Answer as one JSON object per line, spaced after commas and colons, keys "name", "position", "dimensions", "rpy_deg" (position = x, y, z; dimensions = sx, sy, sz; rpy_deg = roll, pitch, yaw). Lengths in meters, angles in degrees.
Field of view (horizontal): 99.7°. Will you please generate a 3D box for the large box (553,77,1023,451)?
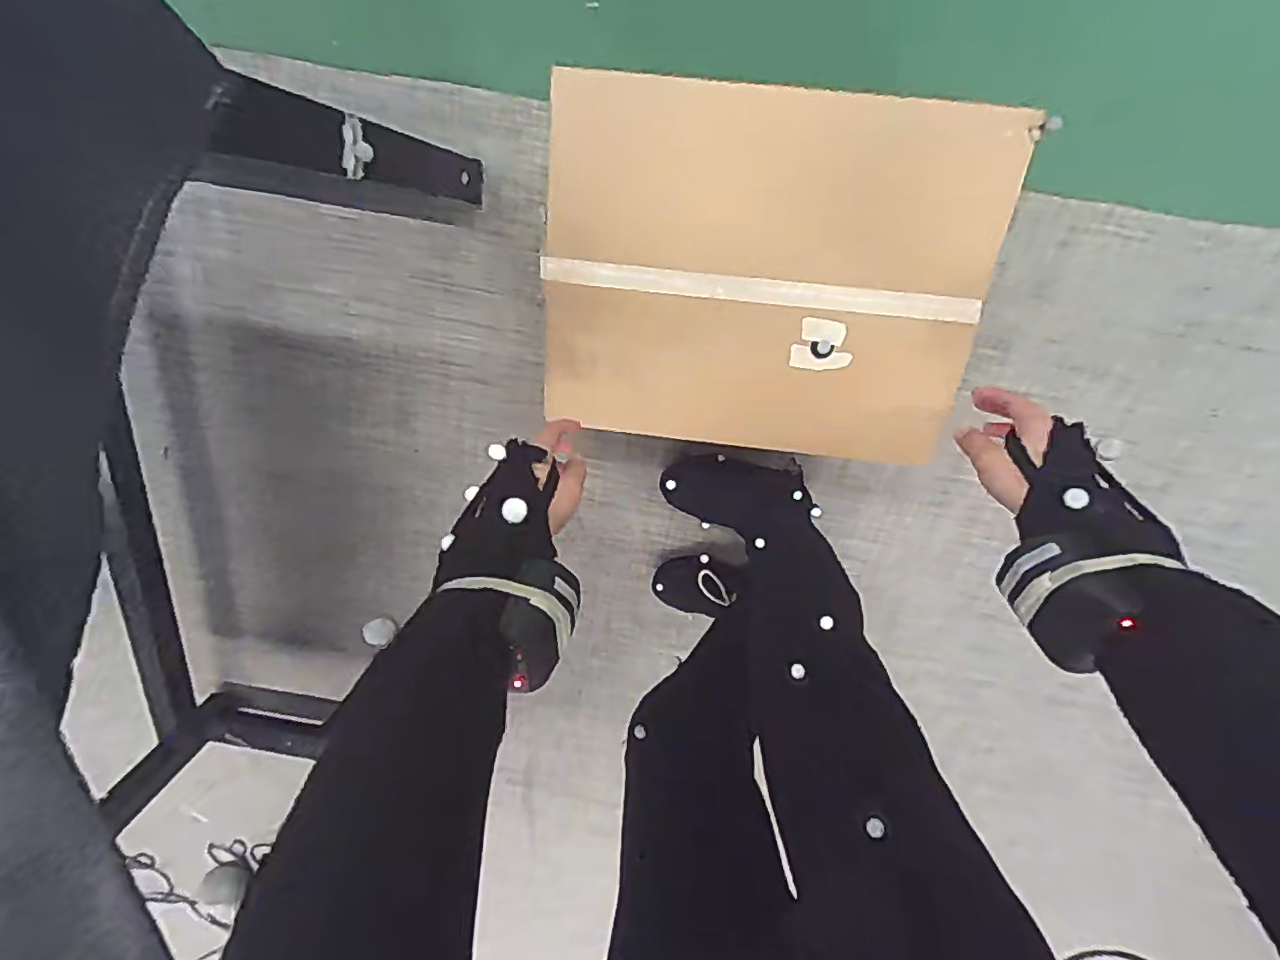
{"name": "large box", "position": [0.122, -0.243, 0.651], "dimensions": [0.408, 0.320, 0.320], "rpy_deg": [6, 113, 2]}
